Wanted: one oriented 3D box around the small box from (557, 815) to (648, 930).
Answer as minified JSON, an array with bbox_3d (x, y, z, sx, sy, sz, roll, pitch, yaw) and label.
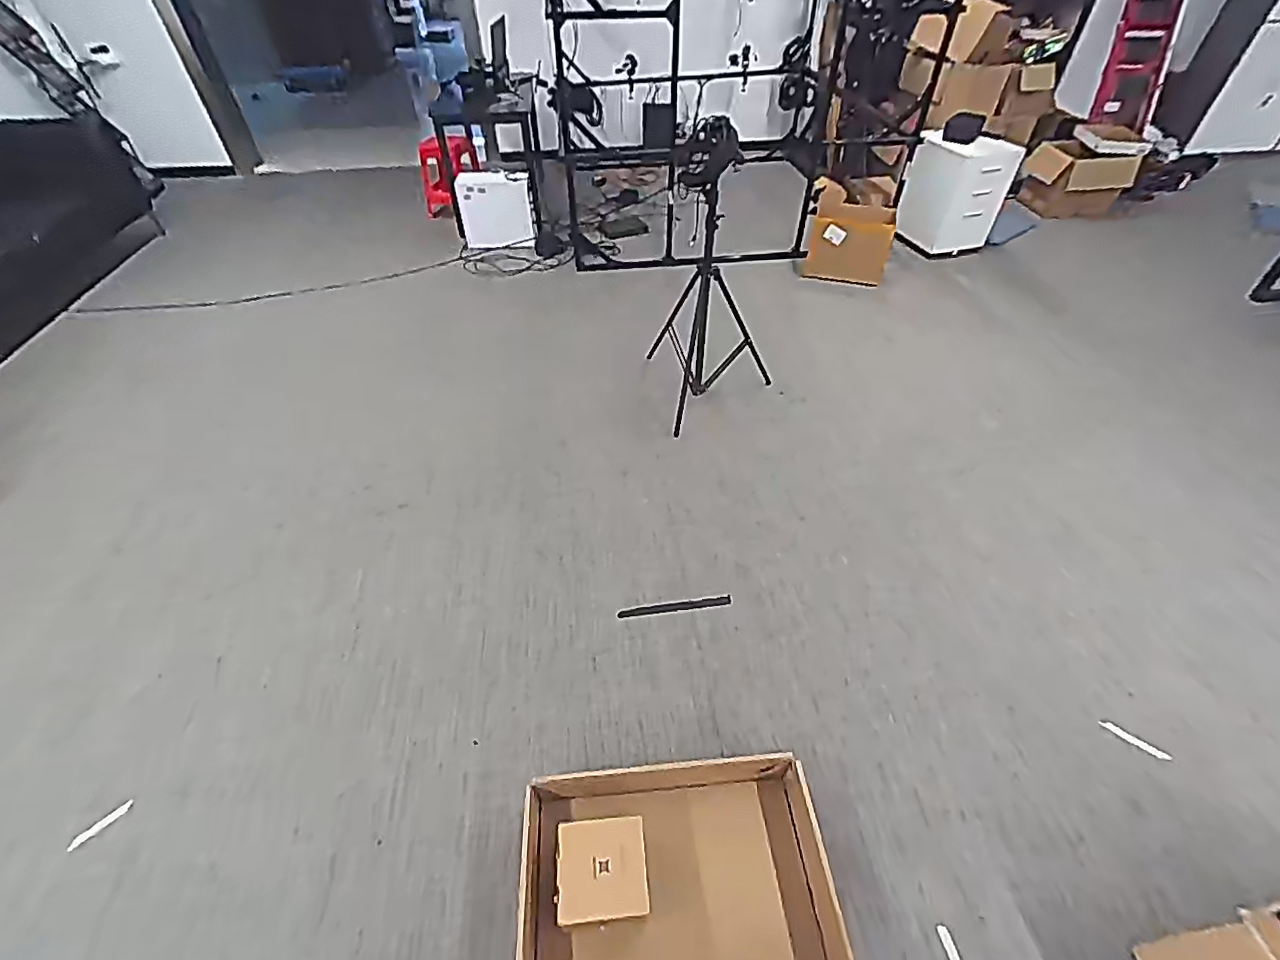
[{"bbox_3d":[-0.077,0.818,1.125,0.179,0.176,0.168,-3,48,-5],"label":"small box"}]
